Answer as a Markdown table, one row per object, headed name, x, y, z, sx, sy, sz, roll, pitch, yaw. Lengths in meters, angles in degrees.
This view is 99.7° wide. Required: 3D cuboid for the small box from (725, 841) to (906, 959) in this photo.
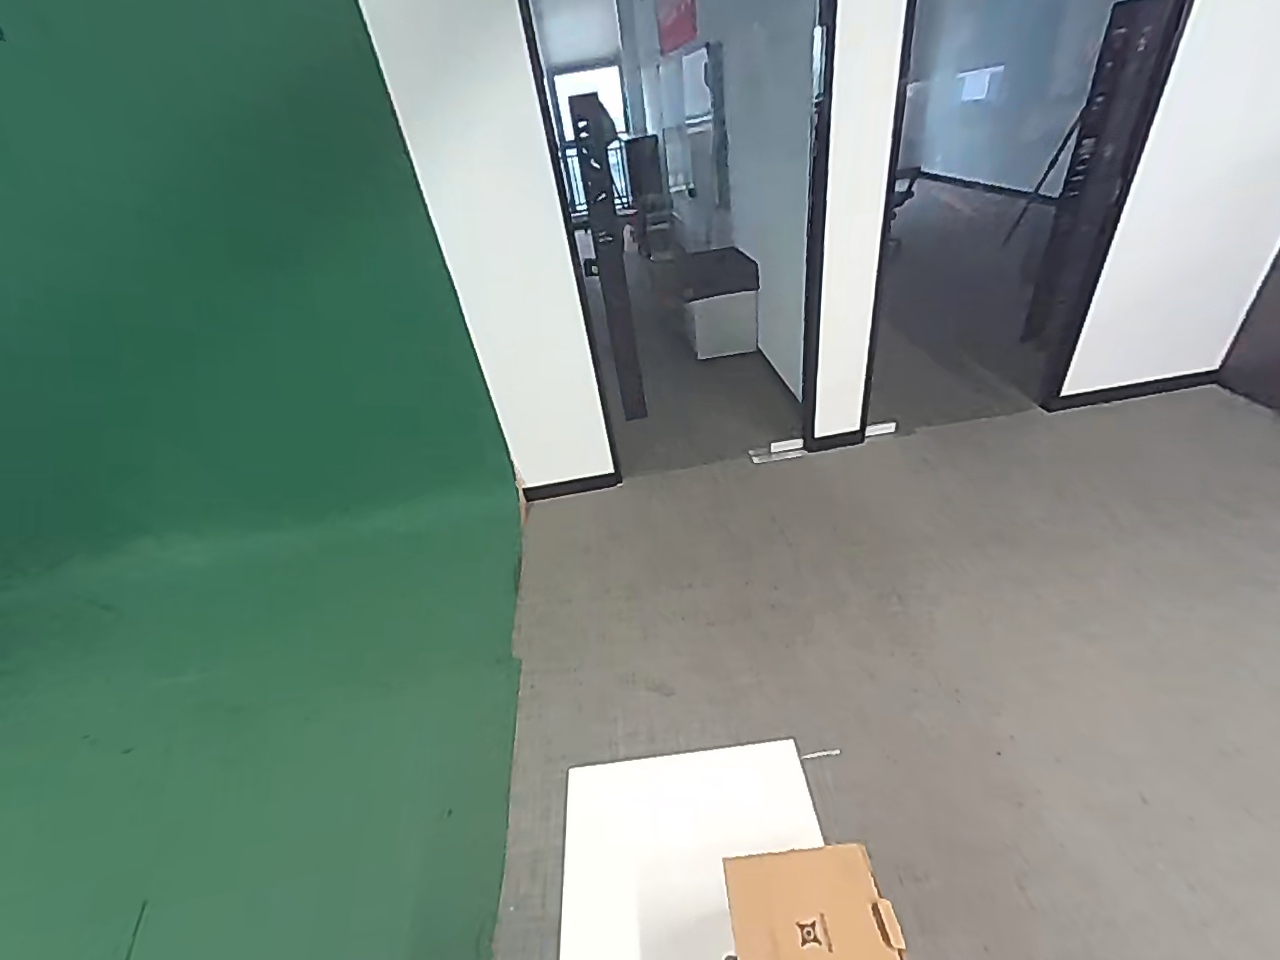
| name | x | y | z | sx | sy | sz | roll | pitch | yaw |
| --- | --- | --- | --- | --- | --- | --- | --- | --- | --- |
| small box | 0.204 | 0.564 | 0.644 | 0.179 | 0.176 | 0.168 | -9 | 34 | 3 |
